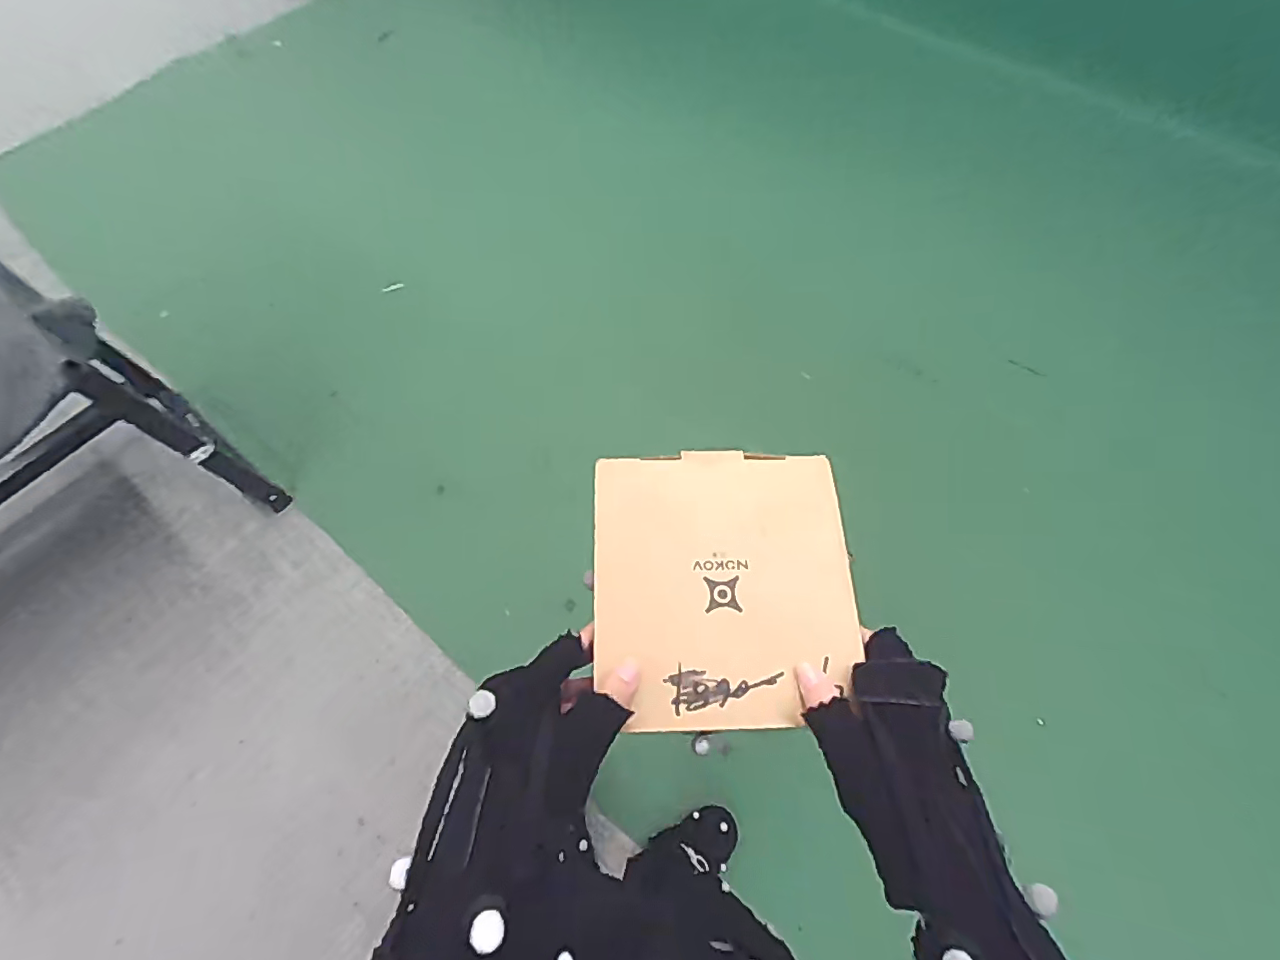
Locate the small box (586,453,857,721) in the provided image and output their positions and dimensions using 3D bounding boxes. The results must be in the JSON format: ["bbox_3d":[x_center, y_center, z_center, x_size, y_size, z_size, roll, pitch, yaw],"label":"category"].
[{"bbox_3d":[0.046,0.092,0.426,0.168,0.176,0.179,-1,69,-1],"label":"small box"}]
